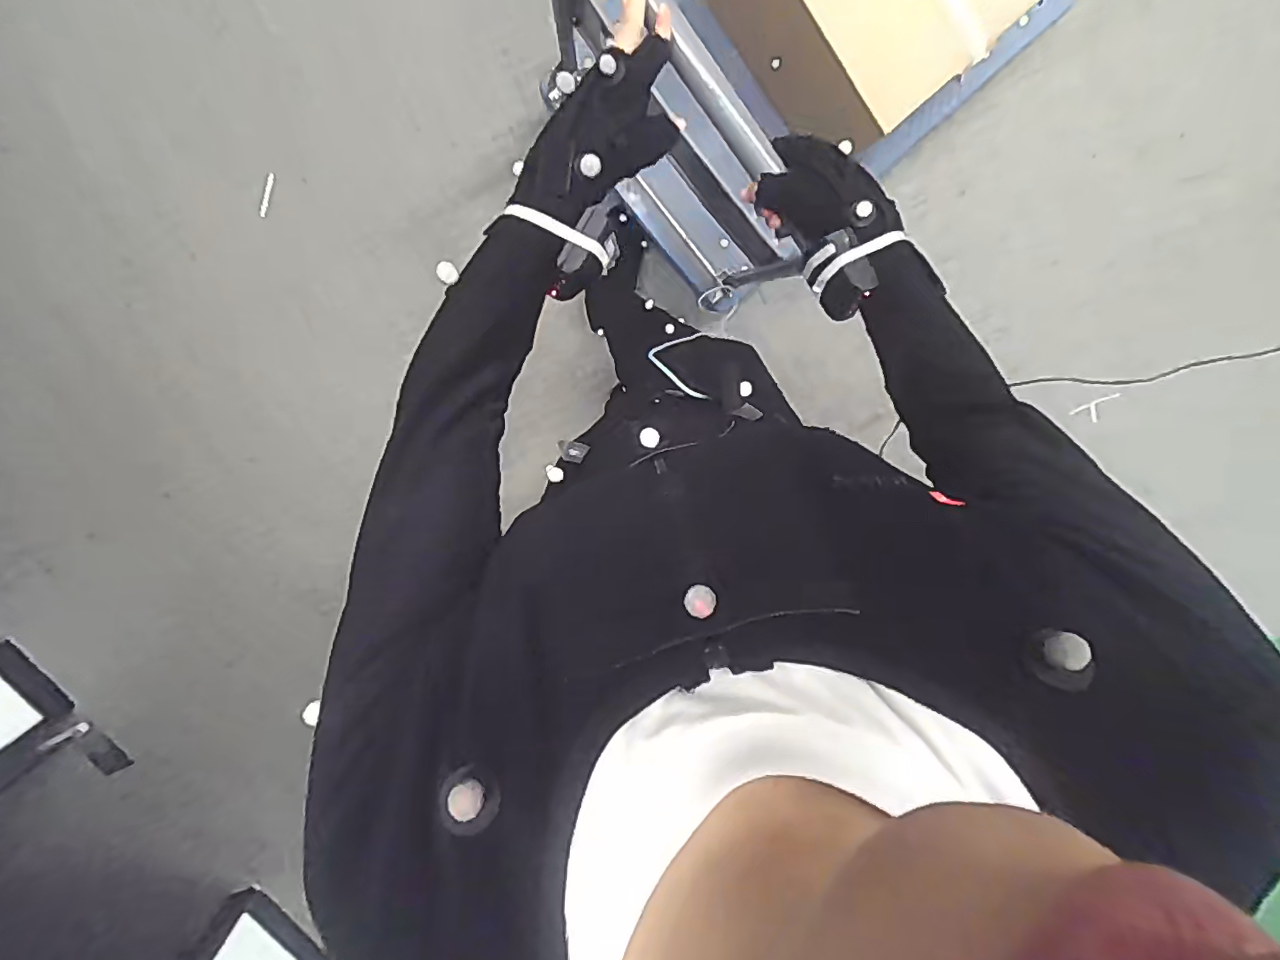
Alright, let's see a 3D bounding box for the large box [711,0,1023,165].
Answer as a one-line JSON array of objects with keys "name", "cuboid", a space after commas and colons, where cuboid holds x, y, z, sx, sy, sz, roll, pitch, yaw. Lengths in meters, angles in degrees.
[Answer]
[{"name": "large box", "cuboid": [0.355, -0.815, 0.873, 0.320, 0.320, 0.408, -39, 104, 12]}]
